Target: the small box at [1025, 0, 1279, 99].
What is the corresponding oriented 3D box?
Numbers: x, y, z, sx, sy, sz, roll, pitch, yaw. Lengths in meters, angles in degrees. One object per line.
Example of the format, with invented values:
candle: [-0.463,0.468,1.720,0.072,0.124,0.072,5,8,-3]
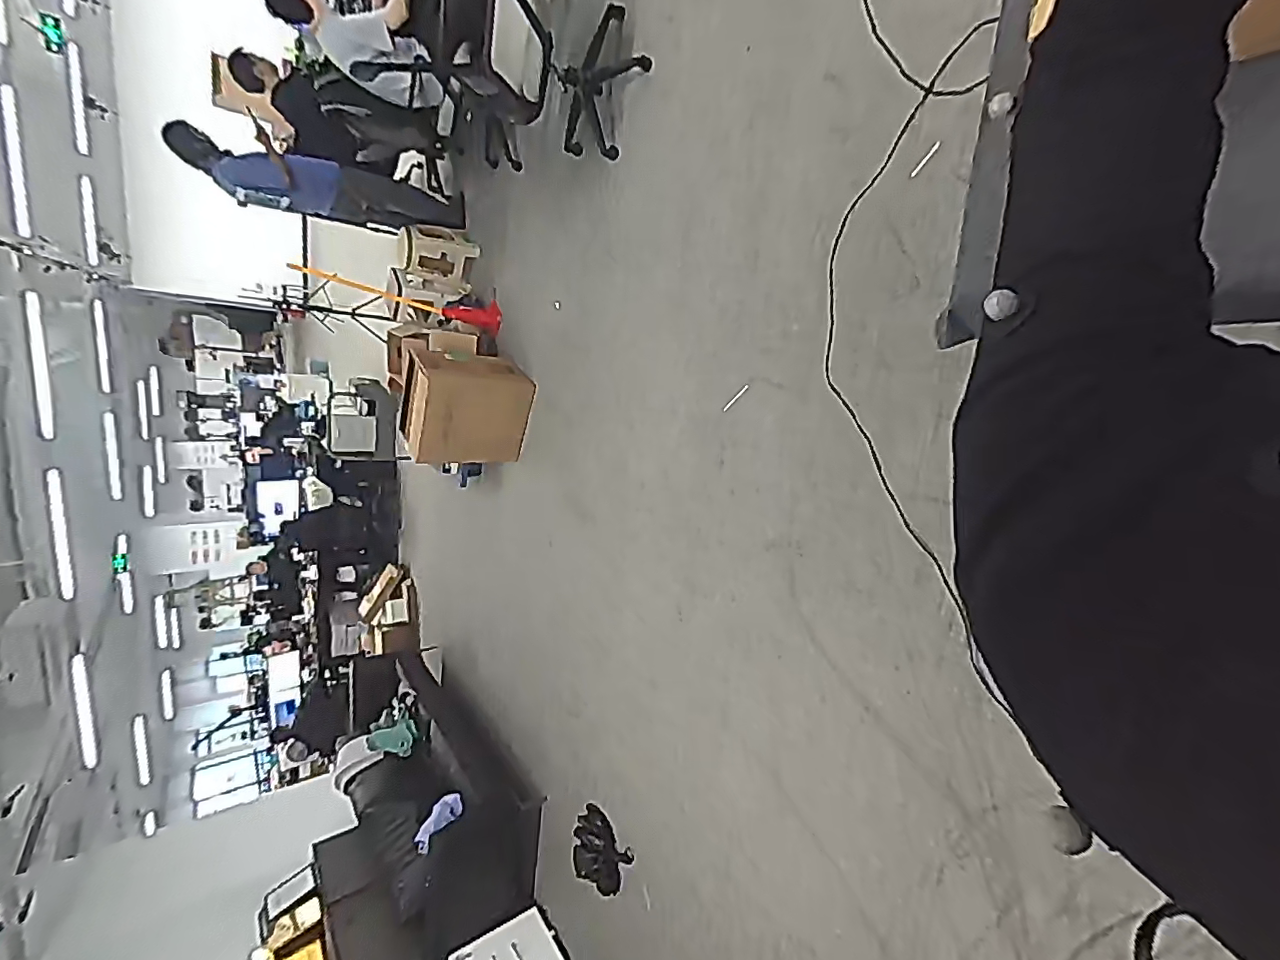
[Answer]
small box: [0.492,-0.488,0.490,0.179,0.176,0.168,16,105,49]
